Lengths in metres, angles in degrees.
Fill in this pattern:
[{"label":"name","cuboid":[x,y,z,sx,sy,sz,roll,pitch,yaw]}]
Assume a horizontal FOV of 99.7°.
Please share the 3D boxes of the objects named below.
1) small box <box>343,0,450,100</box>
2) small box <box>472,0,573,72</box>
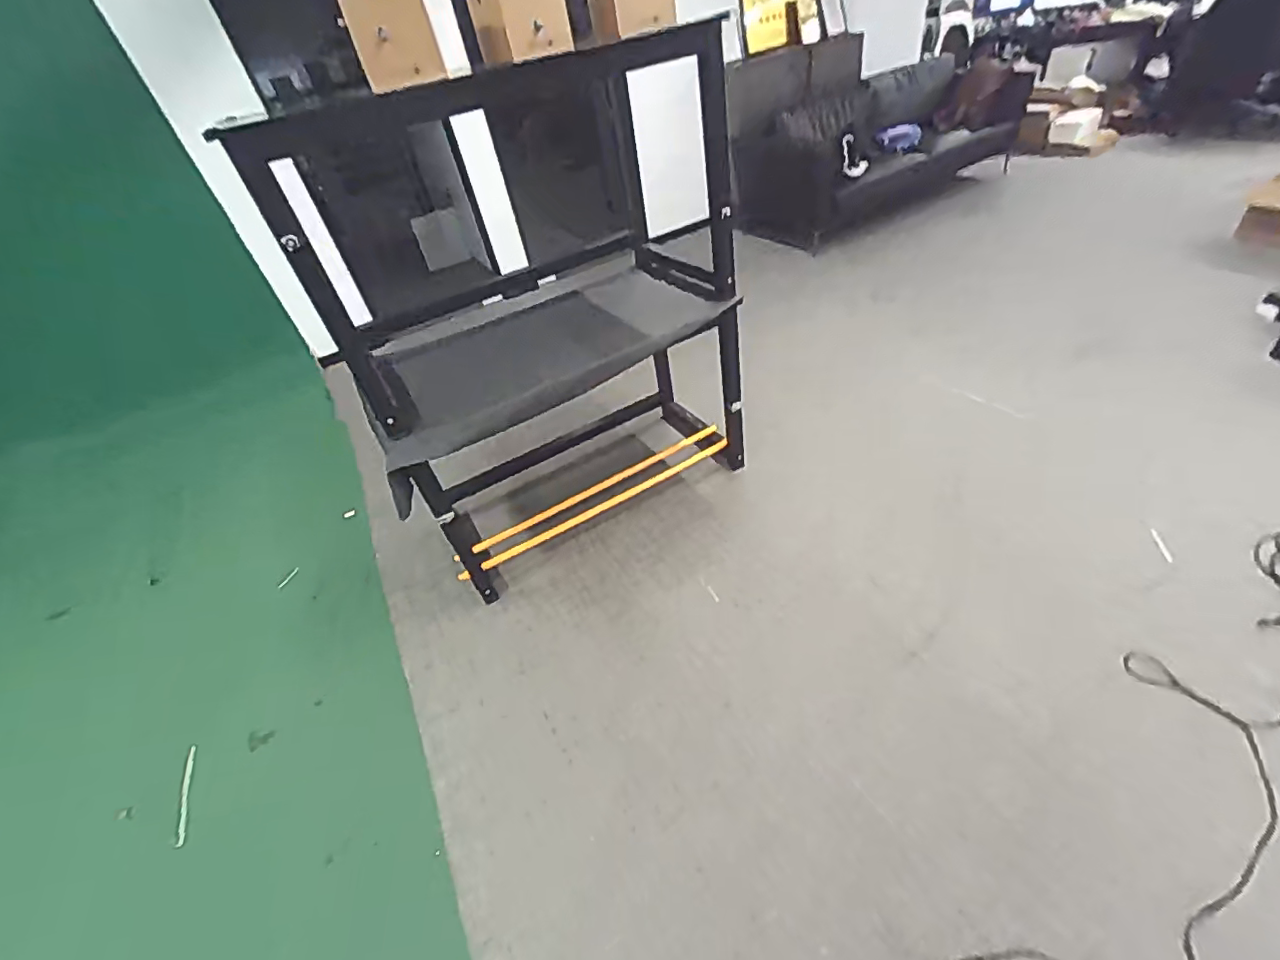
[{"label":"small box","cuboid":[-0.542,-0.973,1.218,0.168,0.176,0.179,-21,40,-11]},{"label":"small box","cuboid":[-0.283,-1.093,1.290,0.168,0.176,0.179,-31,43,-20]}]
